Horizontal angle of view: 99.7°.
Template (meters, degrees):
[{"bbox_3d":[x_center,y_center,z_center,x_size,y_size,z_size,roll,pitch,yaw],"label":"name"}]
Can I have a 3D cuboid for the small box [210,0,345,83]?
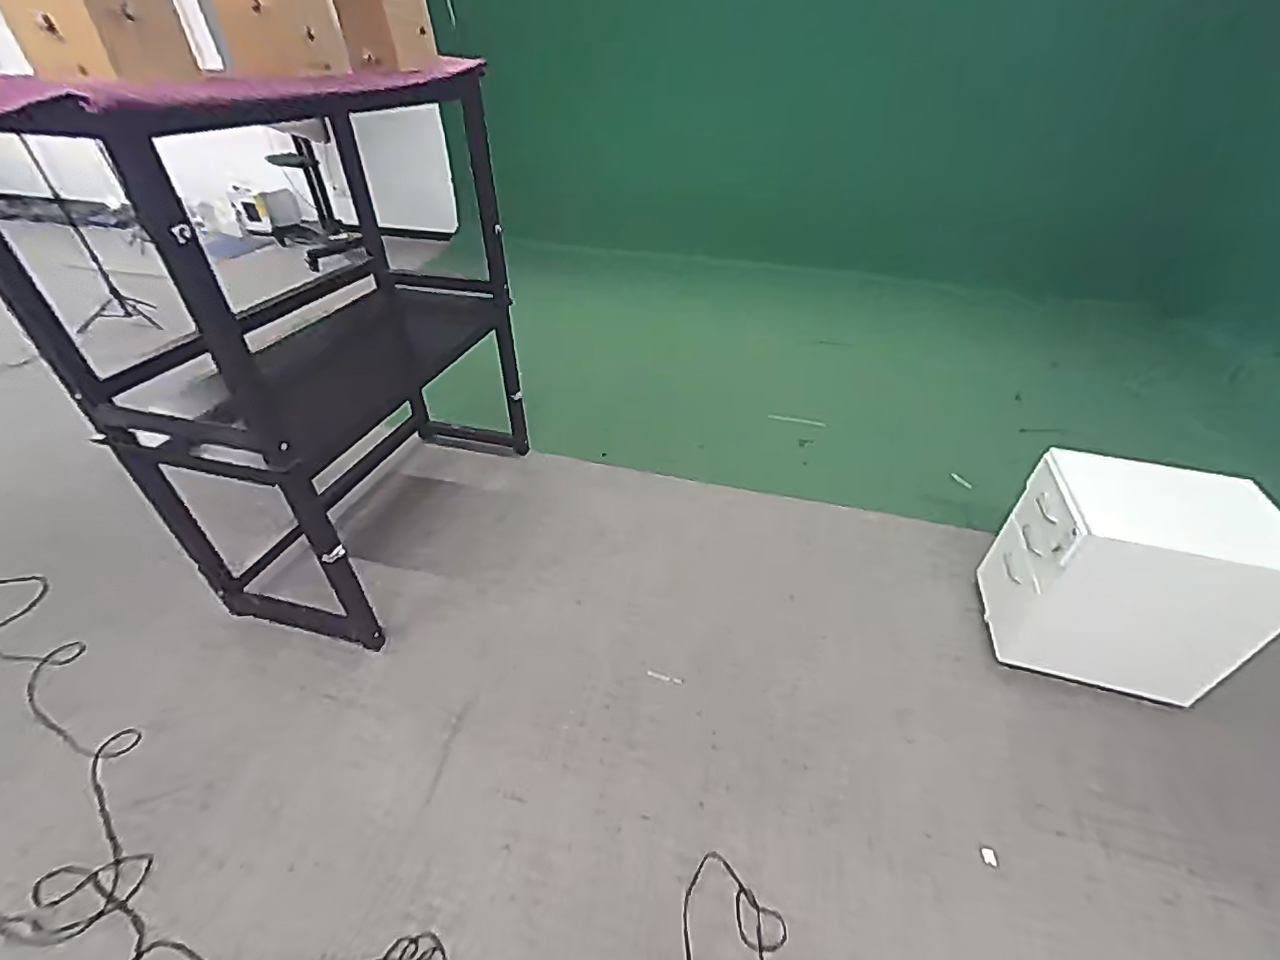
[{"bbox_3d":[-0.815,-1.015,1.231,0.179,0.176,0.168,10,39,12],"label":"small box"}]

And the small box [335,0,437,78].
[{"bbox_3d":[-0.686,-1.217,1.487,0.168,0.176,0.179,11,42,17],"label":"small box"}]

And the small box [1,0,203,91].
[{"bbox_3d":[-0.901,-0.764,0.911,0.168,0.176,0.179,8,39,7],"label":"small box"}]
